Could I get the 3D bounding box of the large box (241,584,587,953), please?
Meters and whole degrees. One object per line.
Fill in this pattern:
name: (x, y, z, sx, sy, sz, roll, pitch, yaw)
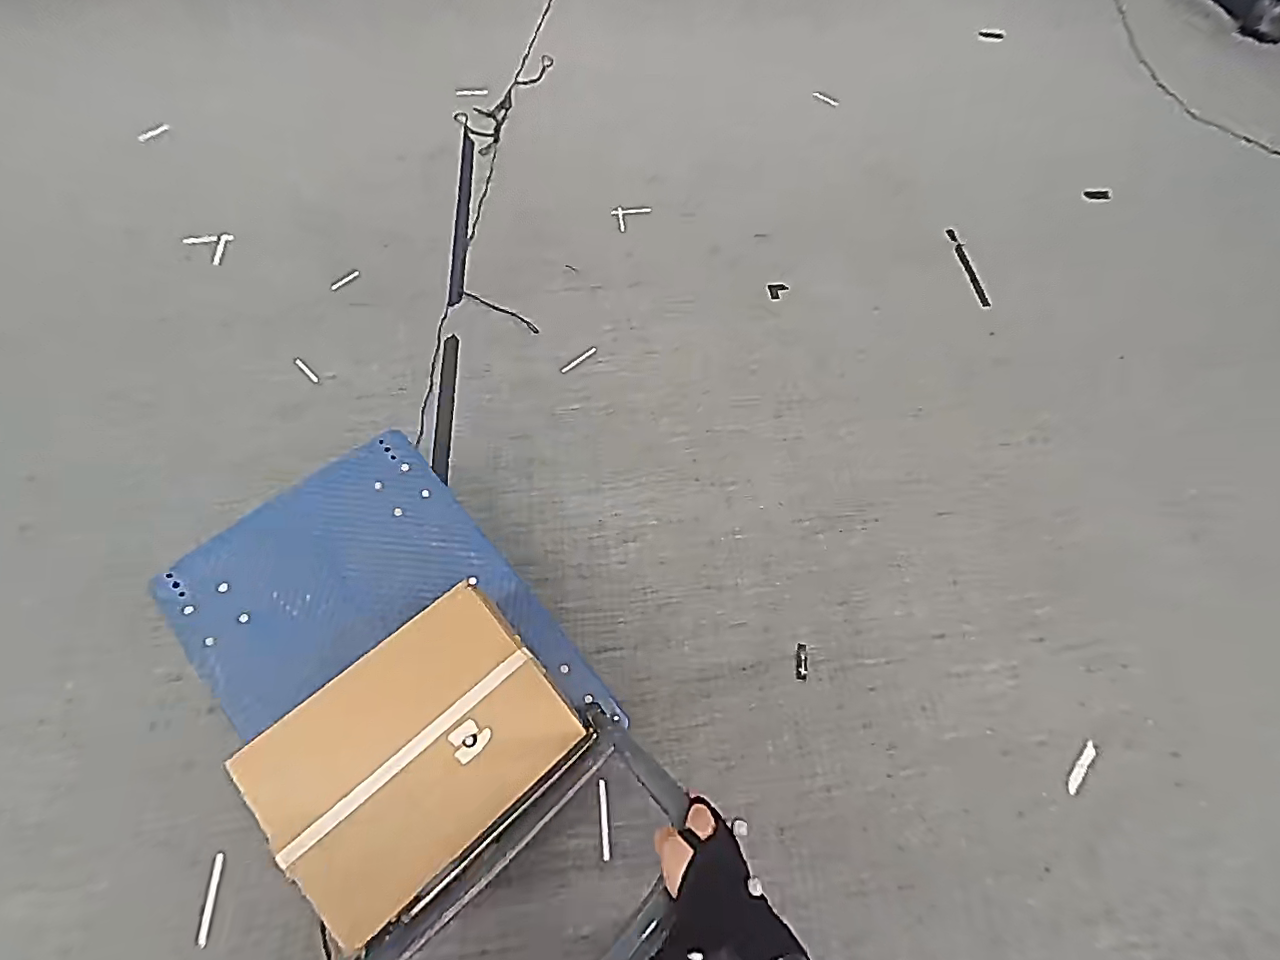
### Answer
large box: (-0.345, 0.453, 0.939, 0.408, 0.320, 0.320, -39, 80, -20)
